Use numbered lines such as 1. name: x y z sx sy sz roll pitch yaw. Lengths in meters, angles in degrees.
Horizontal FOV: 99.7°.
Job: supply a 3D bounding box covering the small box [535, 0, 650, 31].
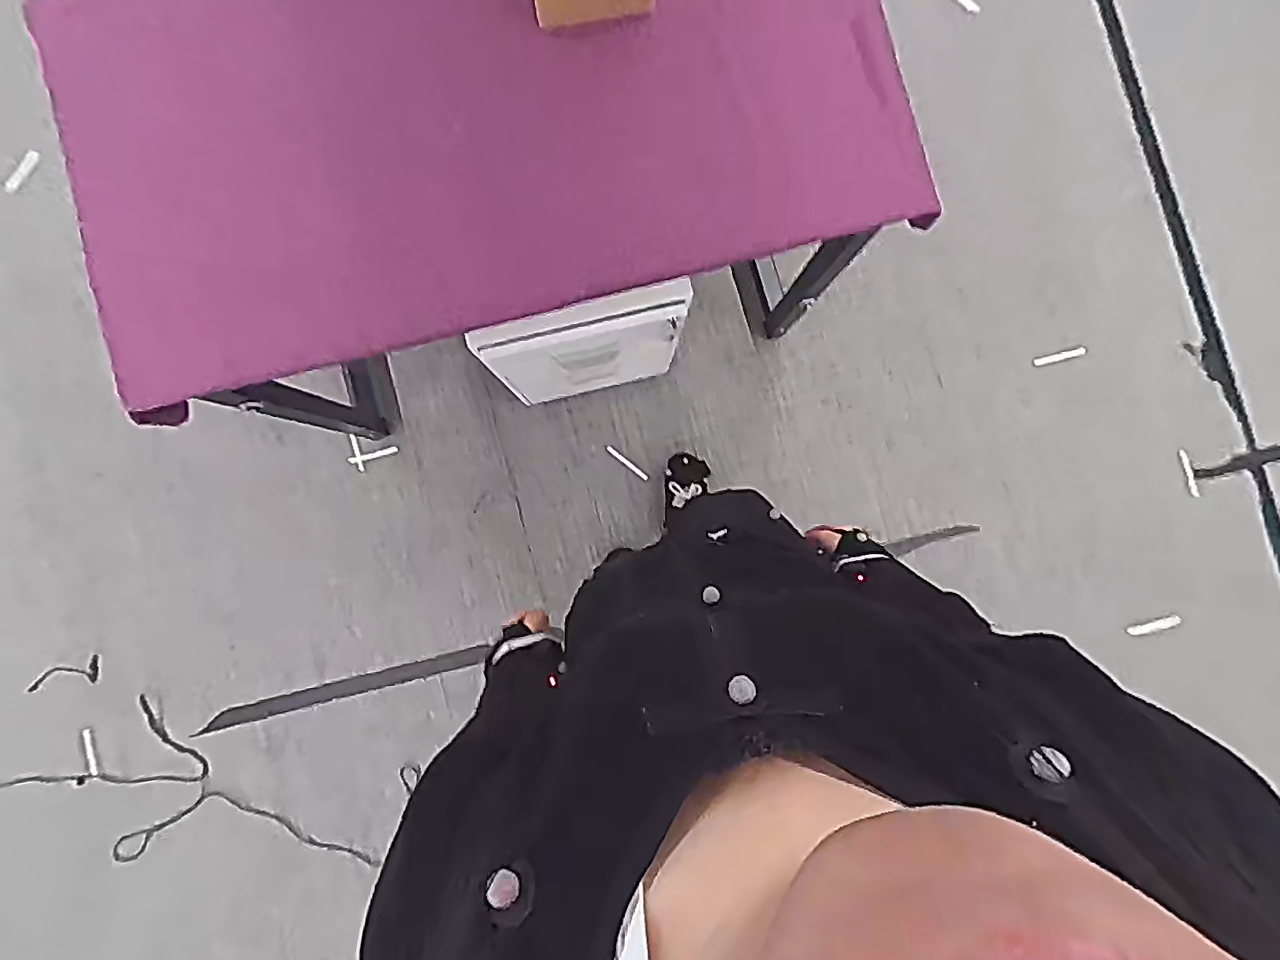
1. small box: -0.071 -0.756 0.721 0.179 0.176 0.168 -11 88 -1
